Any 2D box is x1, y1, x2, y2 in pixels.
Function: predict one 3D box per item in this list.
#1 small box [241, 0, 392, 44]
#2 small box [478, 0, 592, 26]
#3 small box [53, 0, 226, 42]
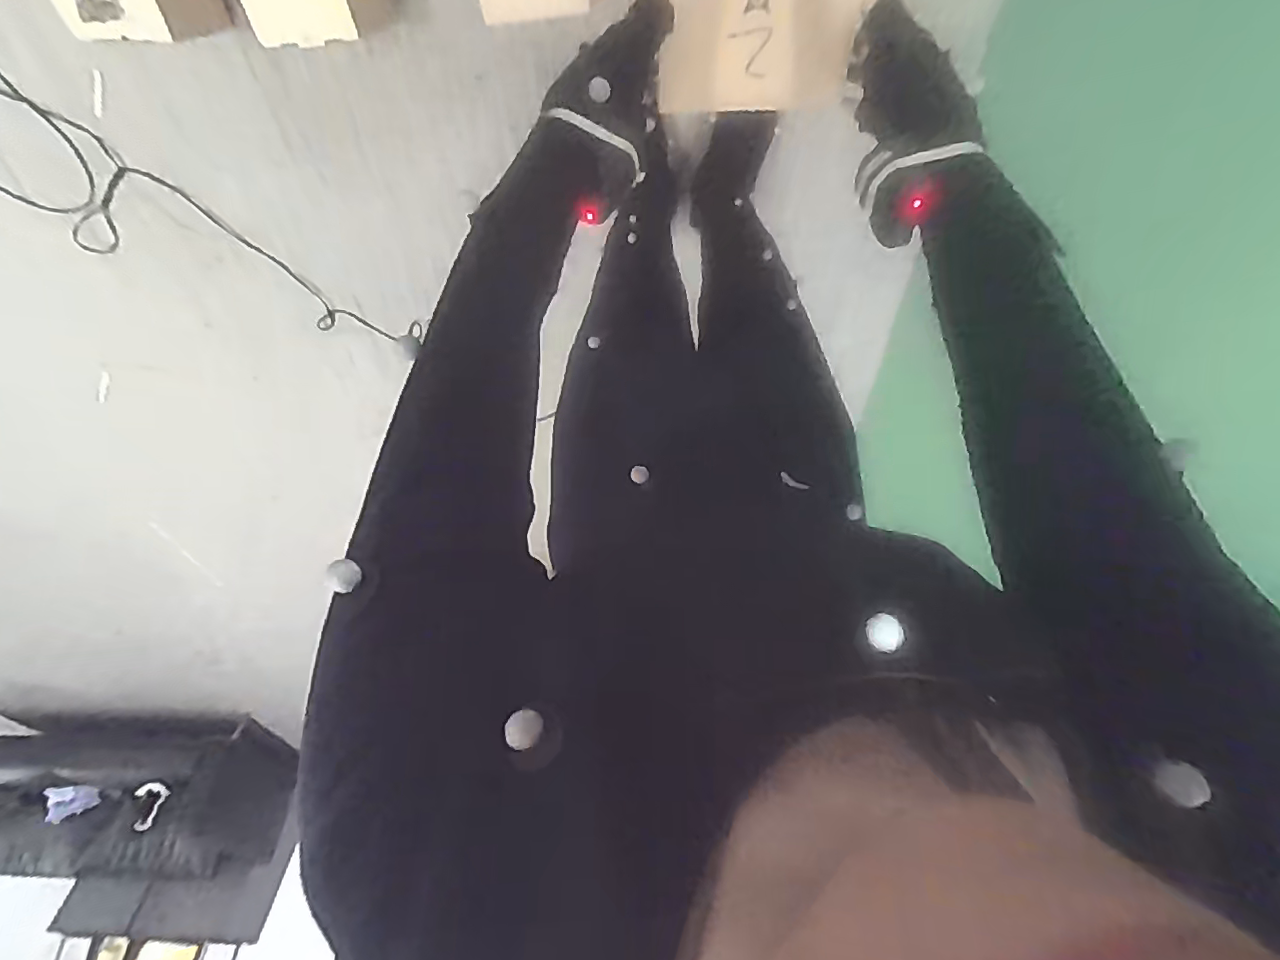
[{"bbox_3d":[-0.522,-0.810,0.846,0.168,0.176,0.179,-1,137,5],"label":"small box"},{"bbox_3d":[-0.164,-0.818,0.815,0.168,0.176,0.179,-3,136,5],"label":"small box"},{"bbox_3d":[-0.813,-0.819,0.853,0.168,0.176,0.179,3,136,1],"label":"small box"}]
